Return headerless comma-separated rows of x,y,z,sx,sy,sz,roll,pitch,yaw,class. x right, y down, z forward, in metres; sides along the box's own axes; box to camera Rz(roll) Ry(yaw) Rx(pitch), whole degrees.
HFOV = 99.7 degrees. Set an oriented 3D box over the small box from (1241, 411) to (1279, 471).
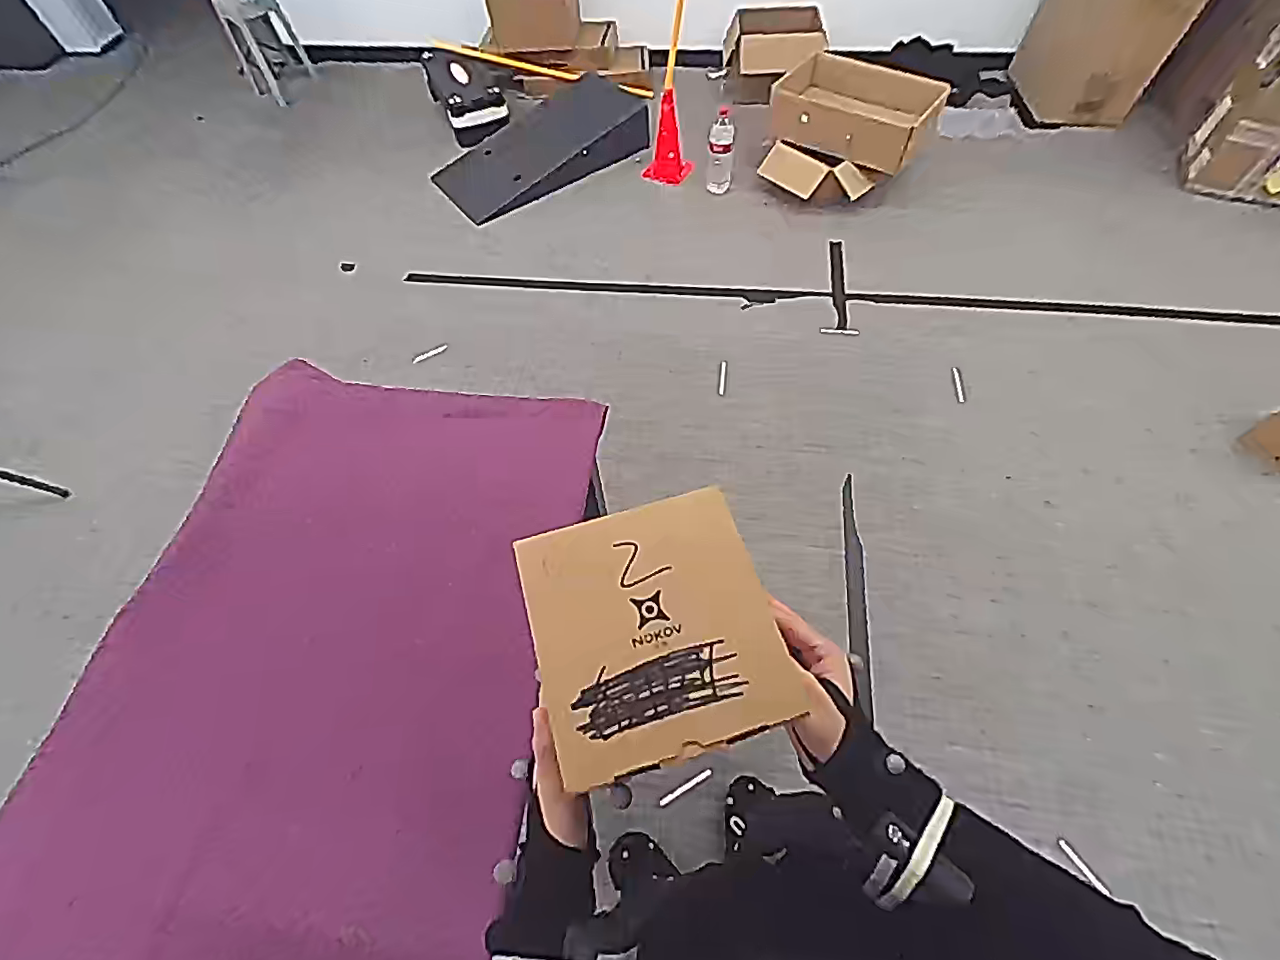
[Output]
1.978,-0.141,1.610,0.179,0.176,0.168,-27,62,-14,small box
